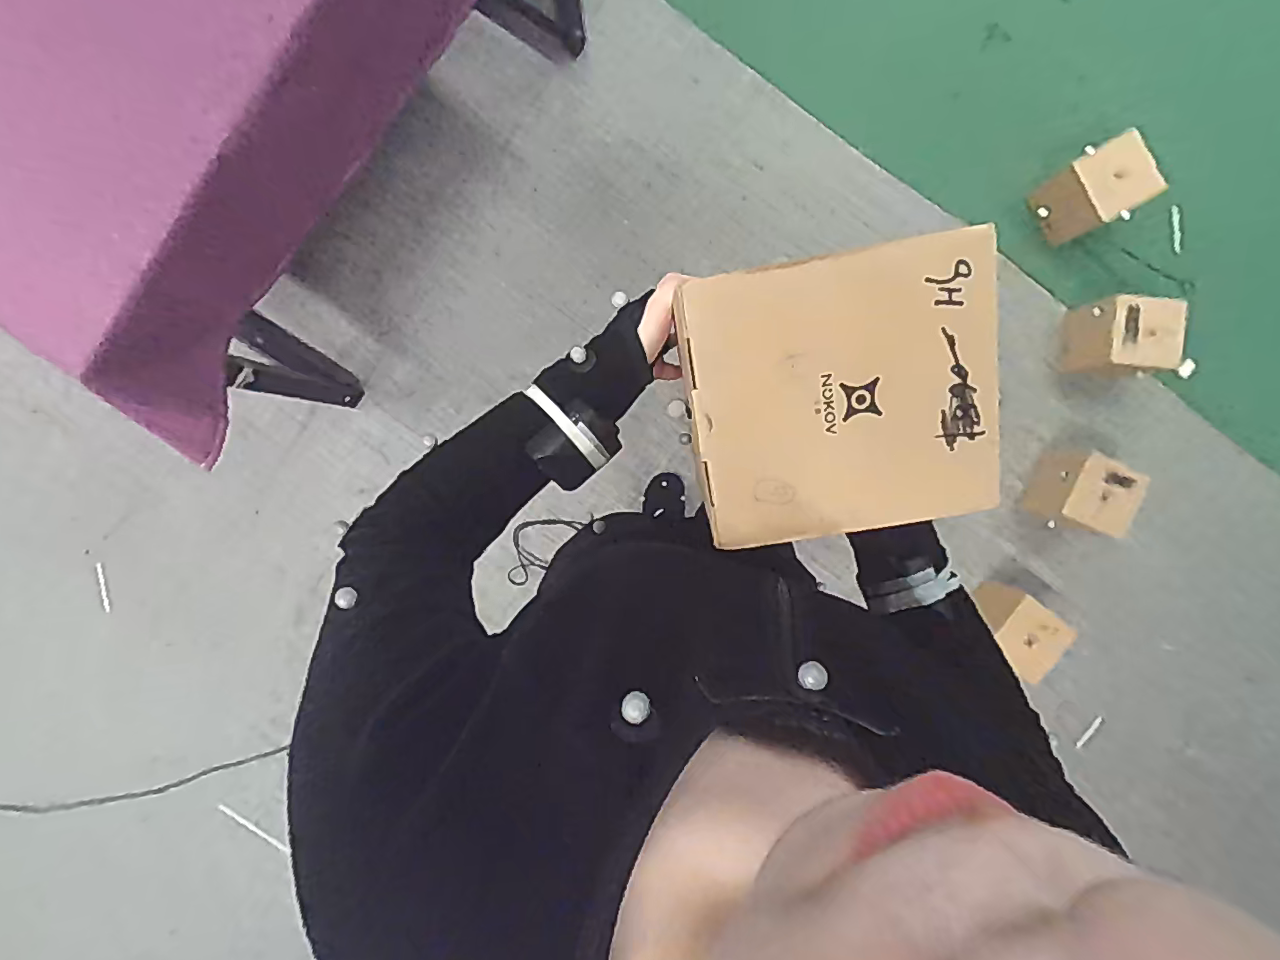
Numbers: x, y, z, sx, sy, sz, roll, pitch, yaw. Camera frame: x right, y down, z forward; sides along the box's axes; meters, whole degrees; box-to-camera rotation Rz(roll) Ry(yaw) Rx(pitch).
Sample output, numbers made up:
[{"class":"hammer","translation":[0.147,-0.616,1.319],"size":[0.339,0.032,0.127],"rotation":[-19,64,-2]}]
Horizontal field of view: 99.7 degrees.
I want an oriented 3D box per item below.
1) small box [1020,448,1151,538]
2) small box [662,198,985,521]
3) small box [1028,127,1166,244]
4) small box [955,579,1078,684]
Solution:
[{"class":"small box","translation":[1.140,0.028,1.399],"size":[0.168,0.176,0.179],"rotation":[25,93,0]},{"class":"small box","translation":[0.116,-0.082,0.395],"size":[0.179,0.176,0.168],"rotation":[-9,104,5]},{"class":"small box","translation":[1.151,-0.738,1.375],"size":[0.179,0.176,0.168],"rotation":[-29,91,1]},{"class":"small box","translation":[0.967,0.386,1.413],"size":[0.168,0.176,0.179],"rotation":[38,92,-2]}]
